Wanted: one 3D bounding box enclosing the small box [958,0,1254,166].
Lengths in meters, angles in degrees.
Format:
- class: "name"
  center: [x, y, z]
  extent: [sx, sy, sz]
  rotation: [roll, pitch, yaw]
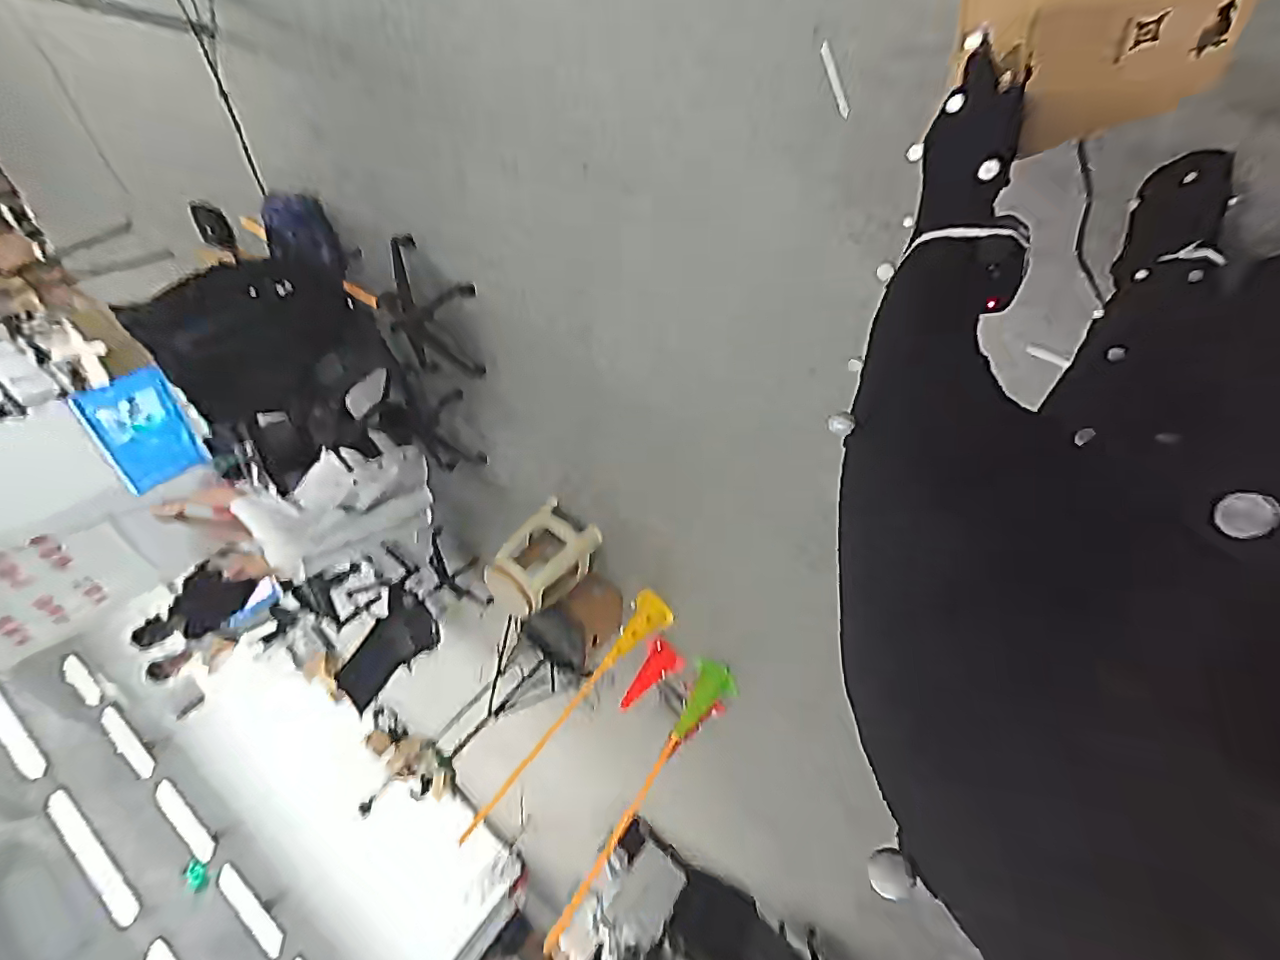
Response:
- class: "small box"
  center: [0.429, -0.449, 0.518]
  extent: [0.179, 0.176, 0.168]
  rotation: [-13, 145, 17]
